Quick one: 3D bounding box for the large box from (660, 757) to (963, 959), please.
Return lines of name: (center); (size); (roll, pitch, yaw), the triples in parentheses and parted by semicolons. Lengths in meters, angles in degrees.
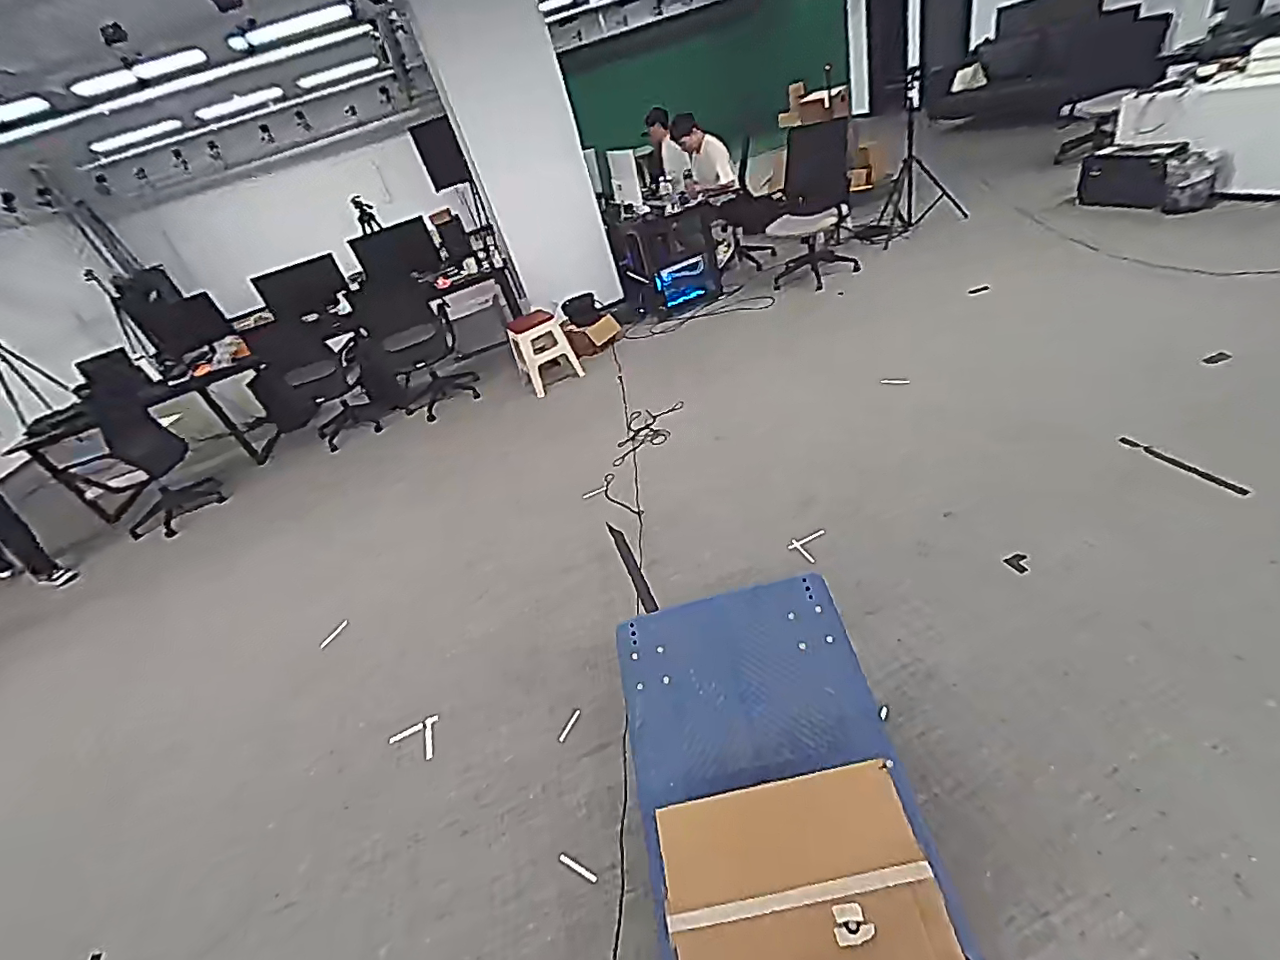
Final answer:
large box: (0.280, 0.737, 0.970); (0.408, 0.320, 0.320); (-15, 52, 4)
